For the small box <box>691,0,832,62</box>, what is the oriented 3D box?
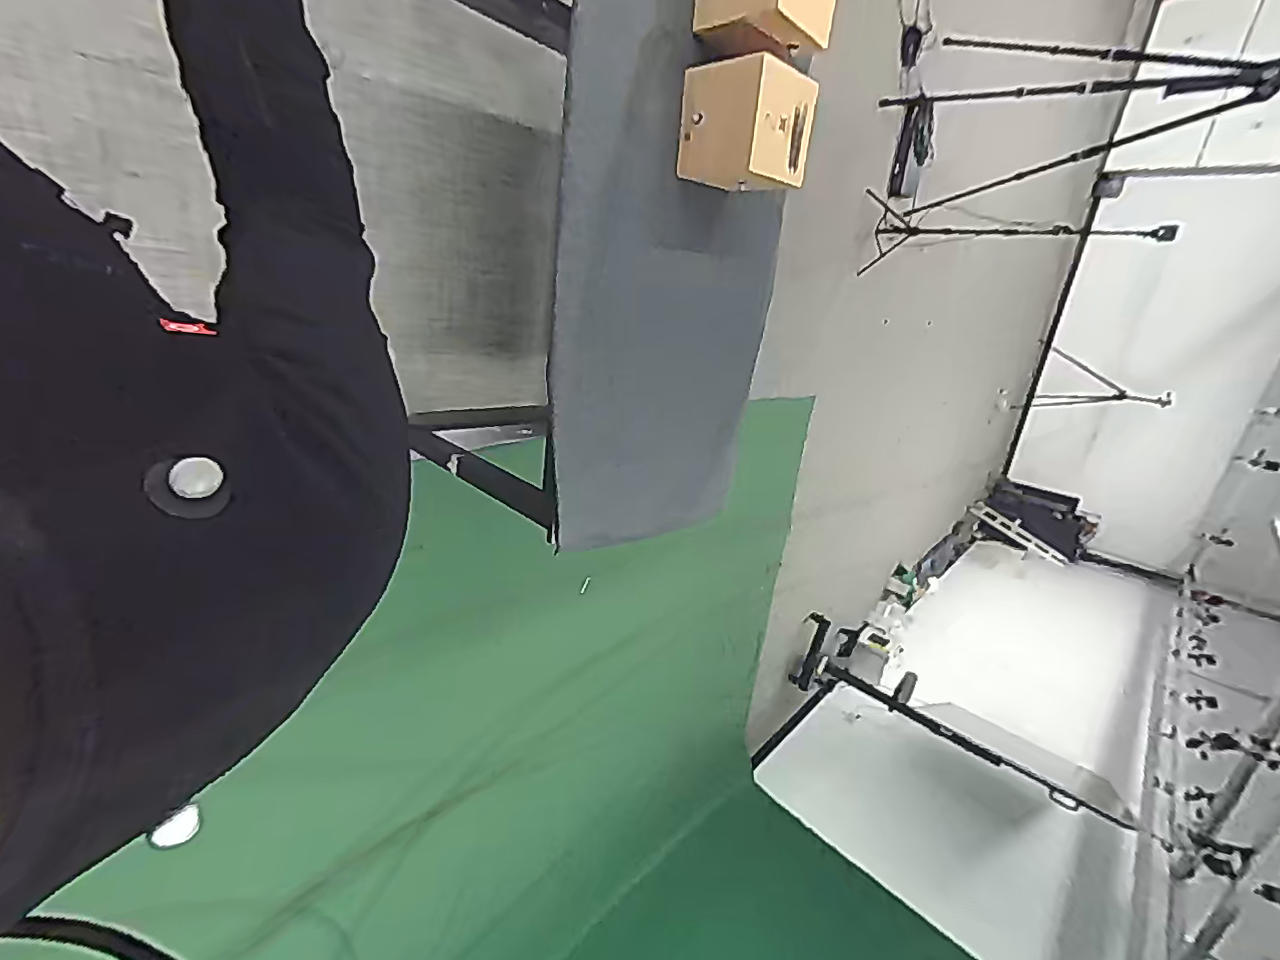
[{"bbox_3d":[0.212,-0.834,0.907,0.179,0.176,0.168,-14,118,-44],"label":"small box"}]
